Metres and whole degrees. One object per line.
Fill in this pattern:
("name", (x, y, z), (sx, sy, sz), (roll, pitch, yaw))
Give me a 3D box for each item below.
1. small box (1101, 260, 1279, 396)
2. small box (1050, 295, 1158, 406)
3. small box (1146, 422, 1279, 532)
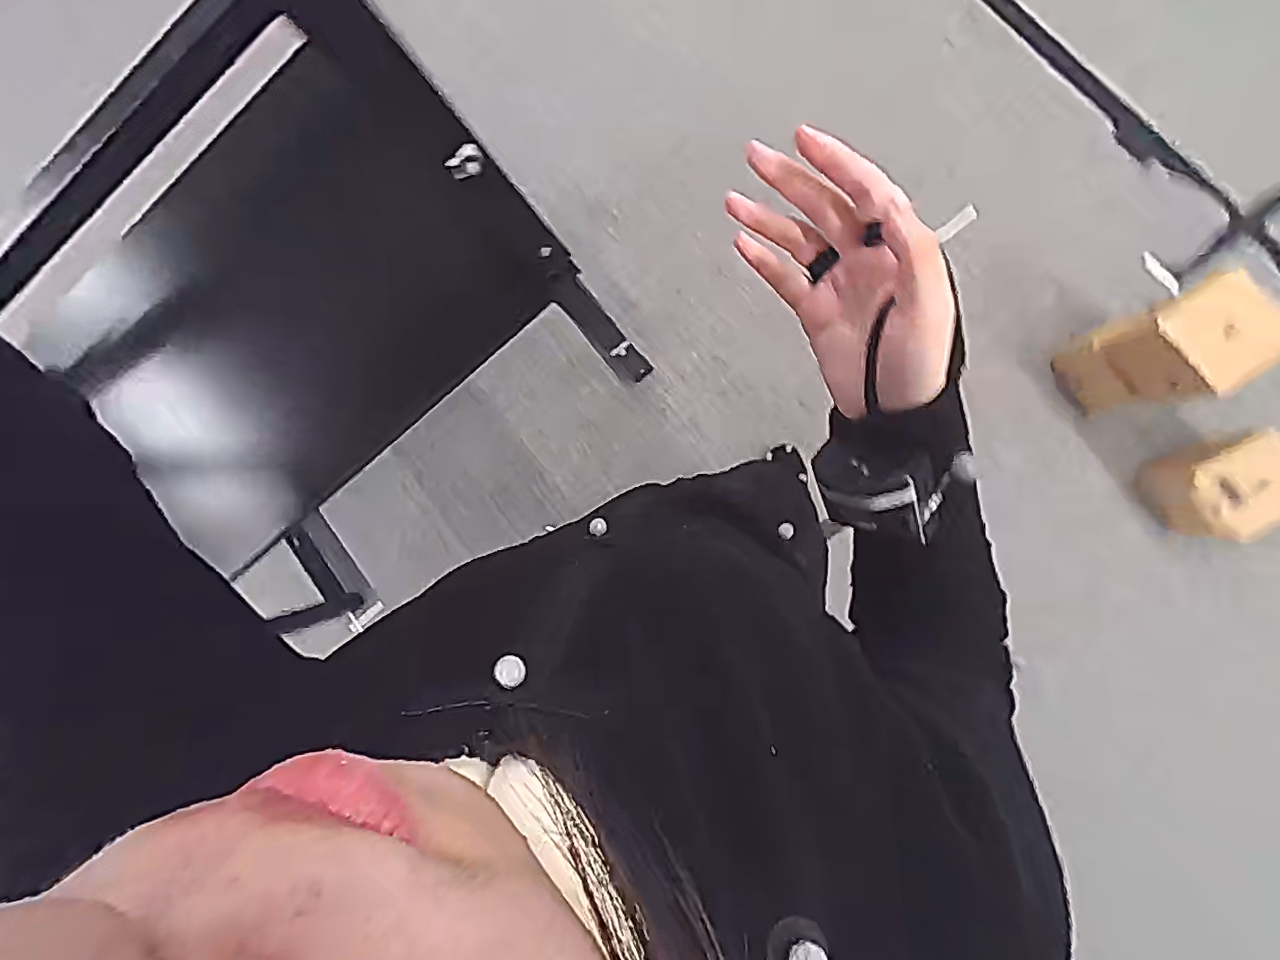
("small box", (1.069, -0.279, 1.045), (0.168, 0.176, 0.179), (-38, 83, 8))
("small box", (1.084, -0.279, 1.208), (0.168, 0.176, 0.179), (-34, 85, 9))
("small box", (1.267, -0.003, 1.174), (0.179, 0.176, 0.168), (-34, 84, 8))
